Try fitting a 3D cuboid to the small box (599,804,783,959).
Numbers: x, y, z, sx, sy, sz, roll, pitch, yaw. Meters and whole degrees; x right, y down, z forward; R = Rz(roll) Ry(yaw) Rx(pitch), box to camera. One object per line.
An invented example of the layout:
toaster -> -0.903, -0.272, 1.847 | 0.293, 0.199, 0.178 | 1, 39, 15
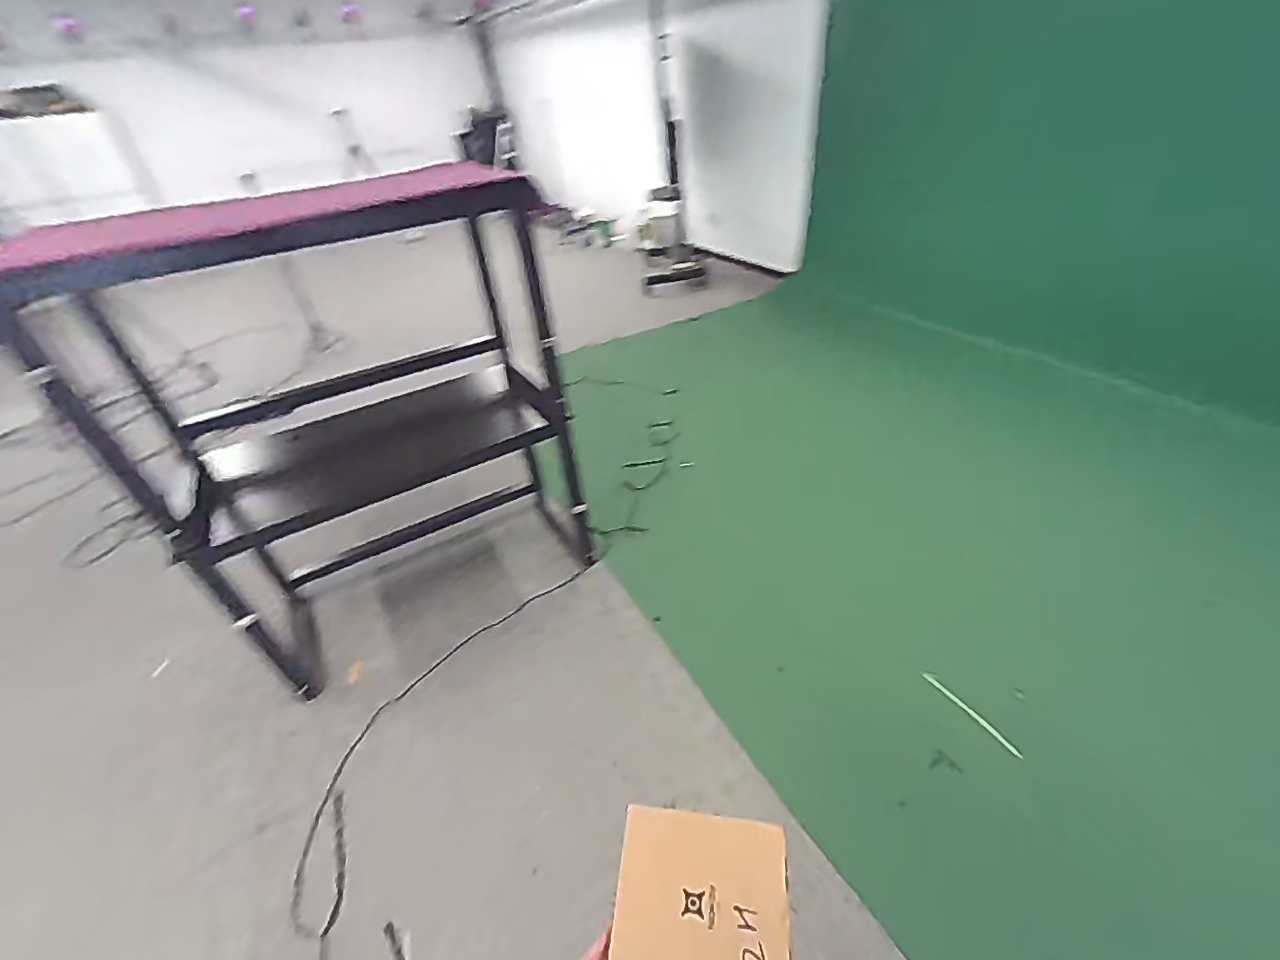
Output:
small box -> 0.058, 0.485, 0.600 | 0.179, 0.176, 0.168 | 3, 45, 6
